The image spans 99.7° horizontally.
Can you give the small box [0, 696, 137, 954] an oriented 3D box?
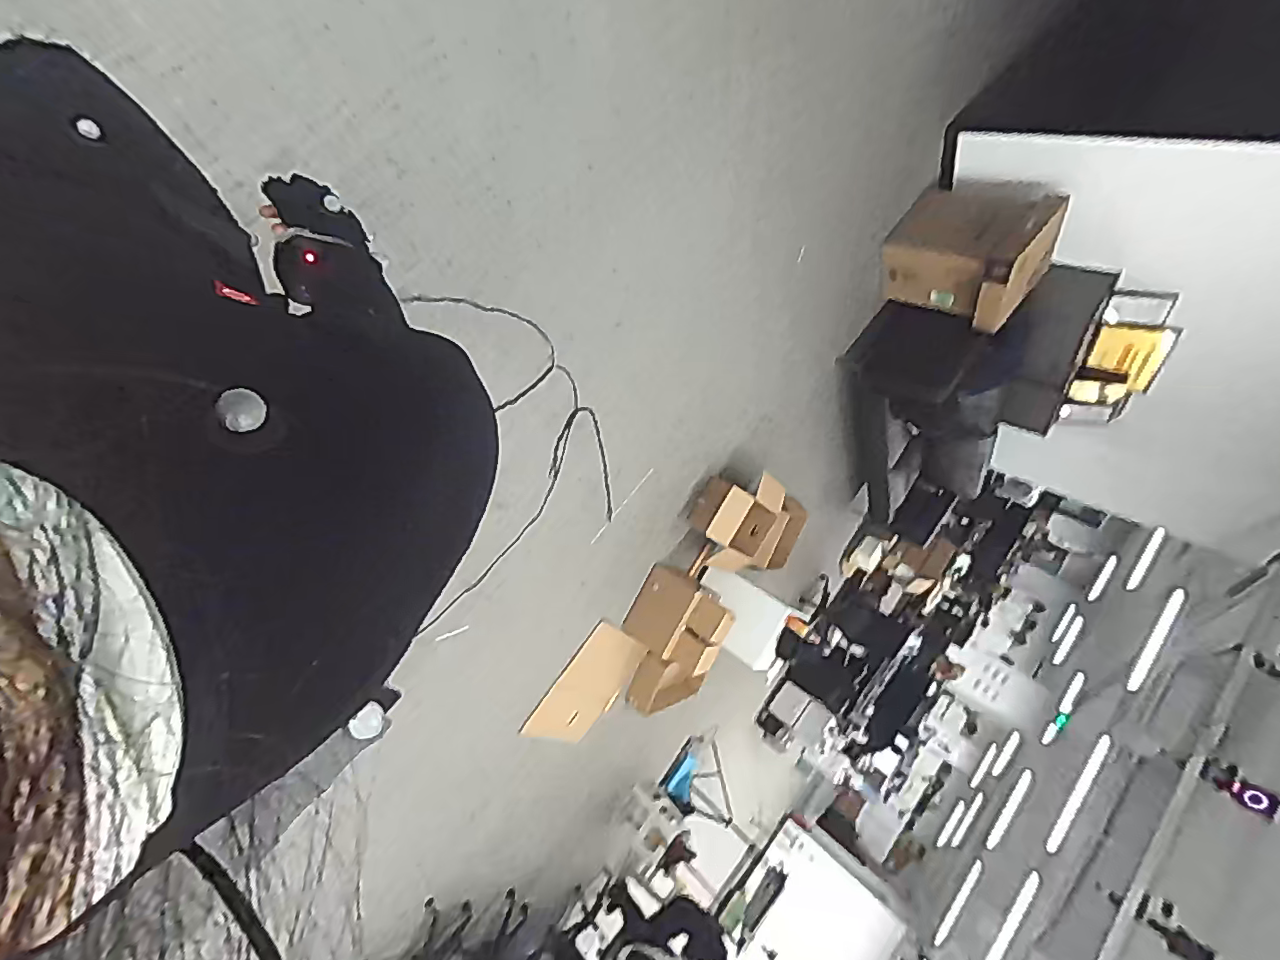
[{"bbox_3d":[-0.720,0.376,0.595,0.179,0.176,0.168,-49,144,-14],"label":"small box"}]
